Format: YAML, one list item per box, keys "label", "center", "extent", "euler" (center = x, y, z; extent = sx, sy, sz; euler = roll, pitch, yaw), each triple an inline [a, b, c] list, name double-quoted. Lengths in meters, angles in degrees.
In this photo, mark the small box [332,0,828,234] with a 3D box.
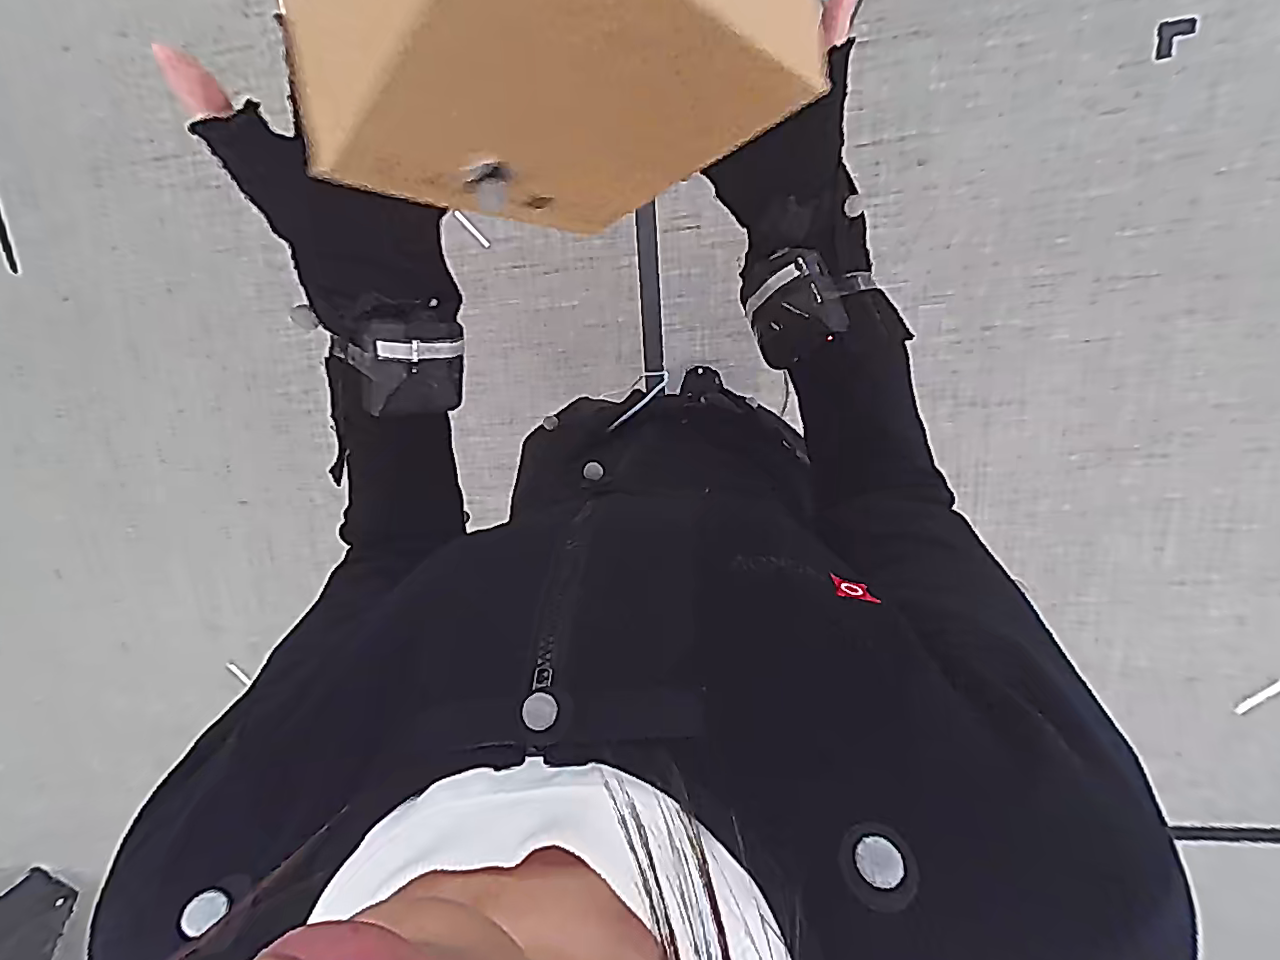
- label: "small box"
  center: [-0.036, -0.249, 0.257]
  extent: [0.176, 0.168, 0.179]
  euler: [-7, 94, 44]
